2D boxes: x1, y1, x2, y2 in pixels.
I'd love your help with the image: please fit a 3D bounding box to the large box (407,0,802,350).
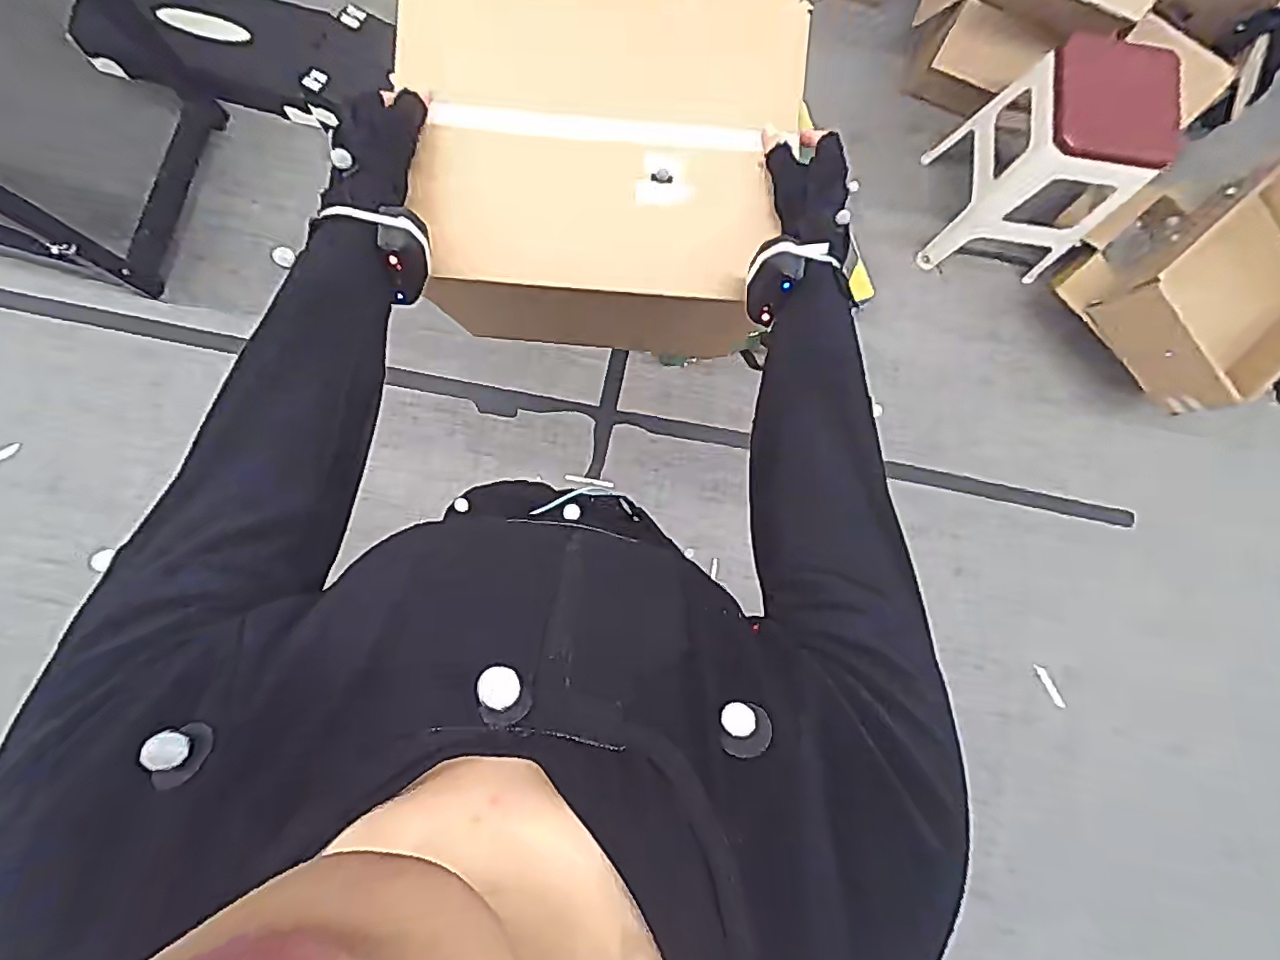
[{"bbox_3d":[-0.044,-0.362,0.707,0.408,0.320,0.320,4,93,-3],"label":"large box"}]
